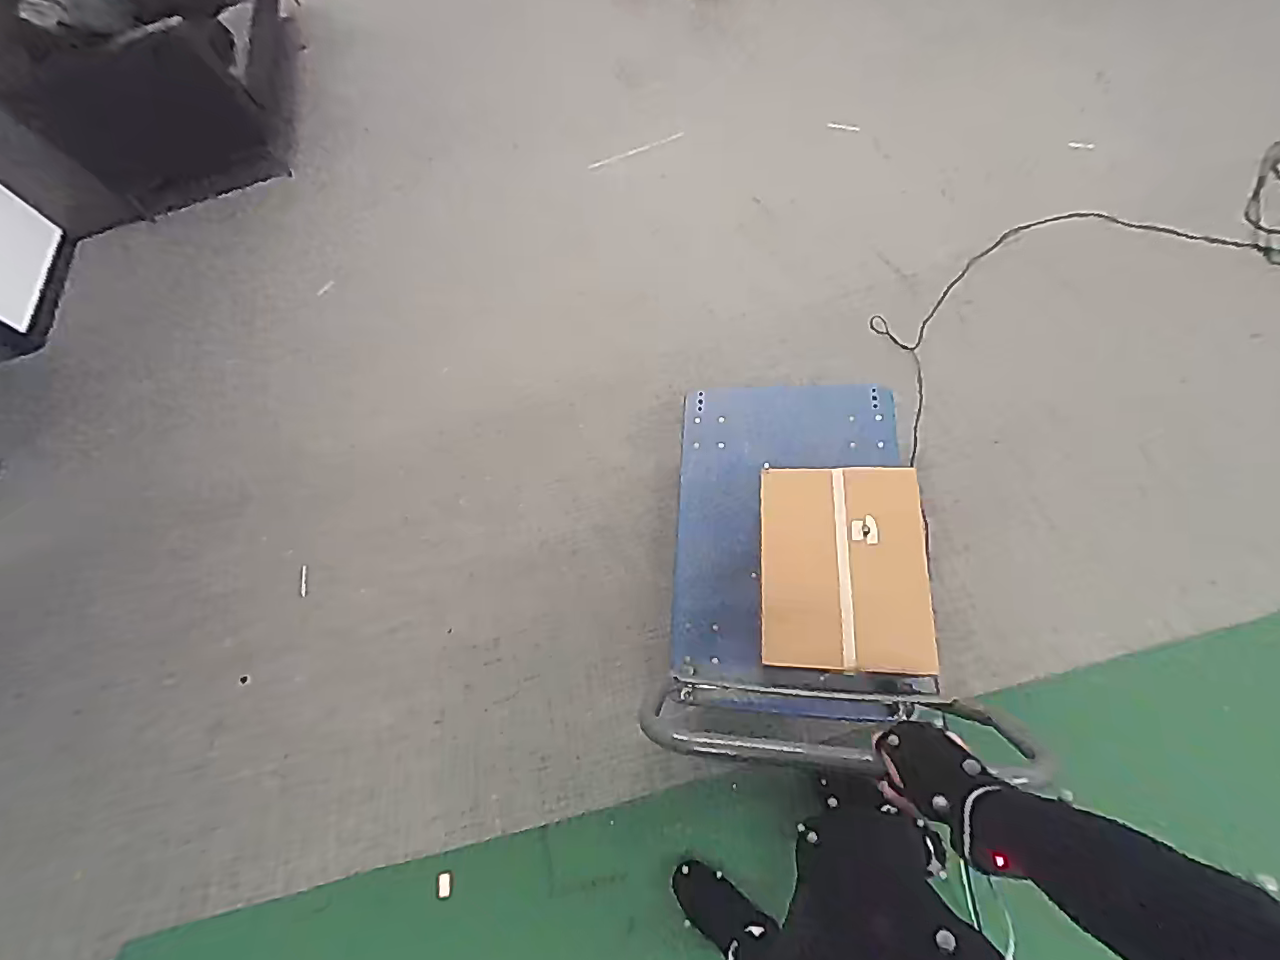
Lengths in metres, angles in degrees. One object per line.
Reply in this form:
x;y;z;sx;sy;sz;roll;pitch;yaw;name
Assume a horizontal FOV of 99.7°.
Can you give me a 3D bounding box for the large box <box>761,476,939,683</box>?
0.432;0.232;1.208;0.320;0.320;0.408;1;69;11;large box
